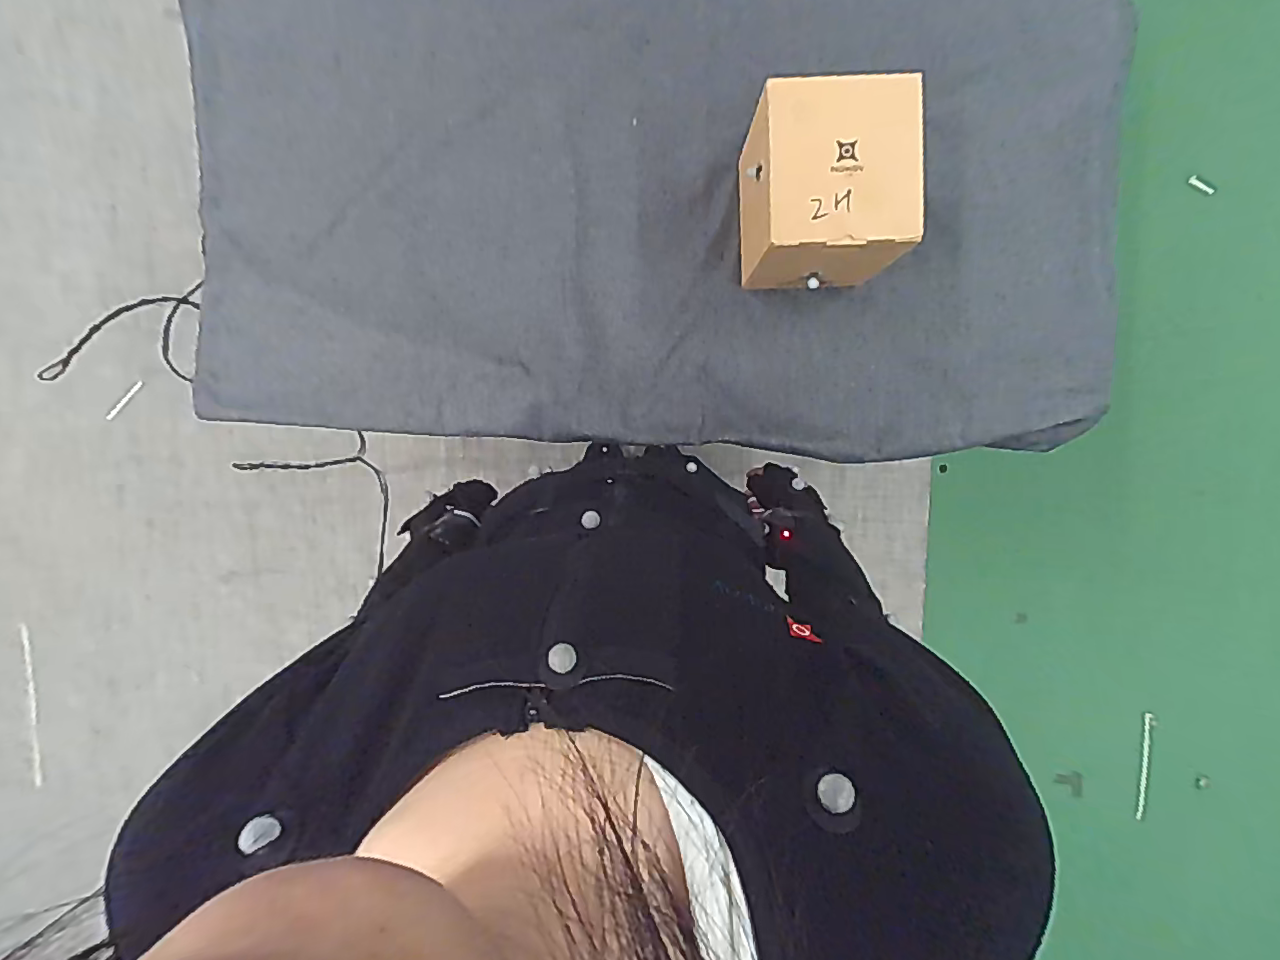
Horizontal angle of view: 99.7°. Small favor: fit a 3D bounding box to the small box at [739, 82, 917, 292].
[{"bbox_3d":[0.218,-0.345,0.665,0.168,0.176,0.179,-1,94,1],"label":"small box"}]
